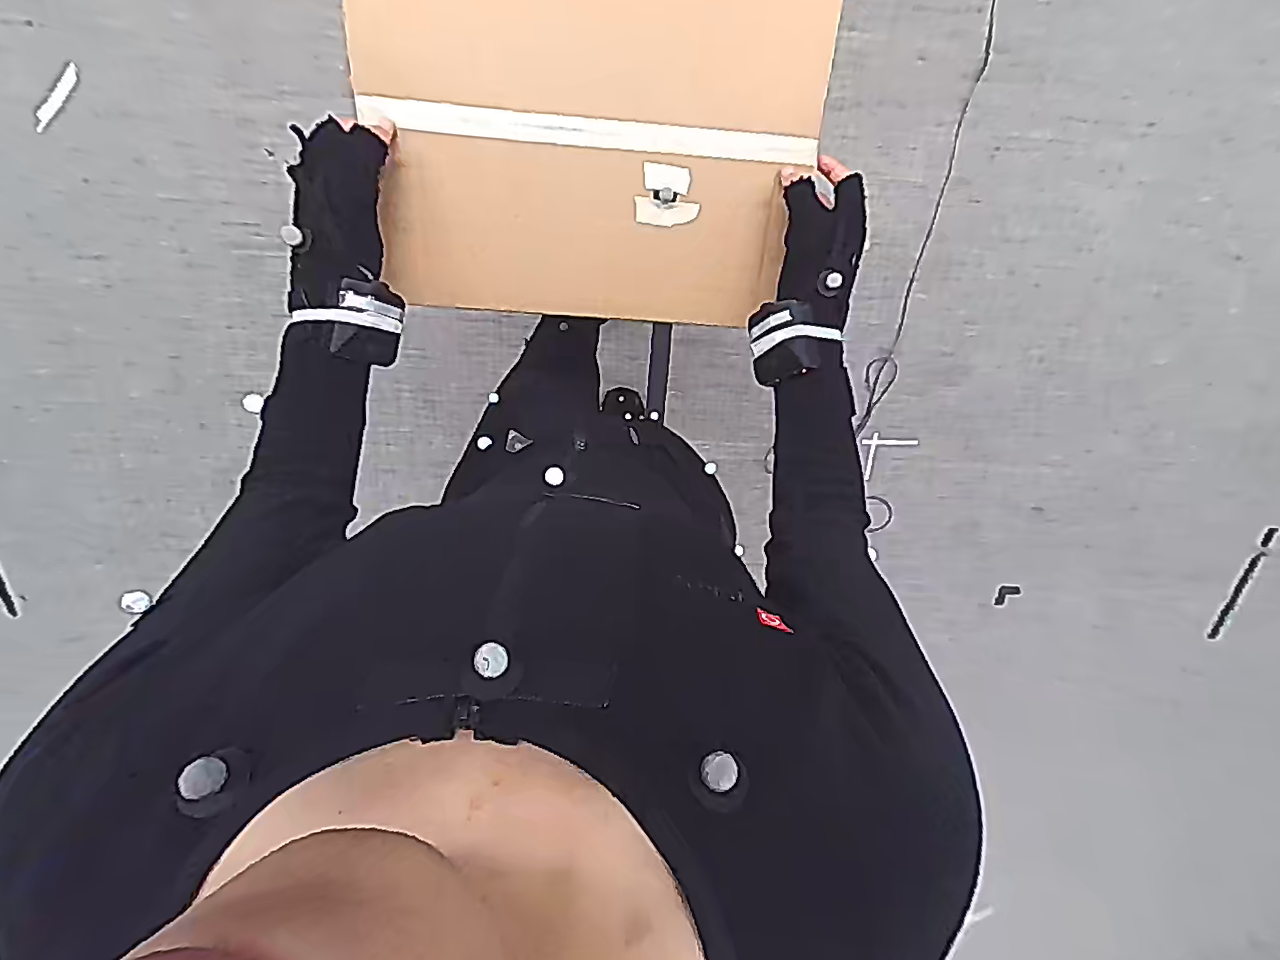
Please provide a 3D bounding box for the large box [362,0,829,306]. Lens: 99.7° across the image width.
[{"bbox_3d":[-0.051,-0.382,0.630,0.408,0.320,0.320,2,113,-6],"label":"large box"}]
